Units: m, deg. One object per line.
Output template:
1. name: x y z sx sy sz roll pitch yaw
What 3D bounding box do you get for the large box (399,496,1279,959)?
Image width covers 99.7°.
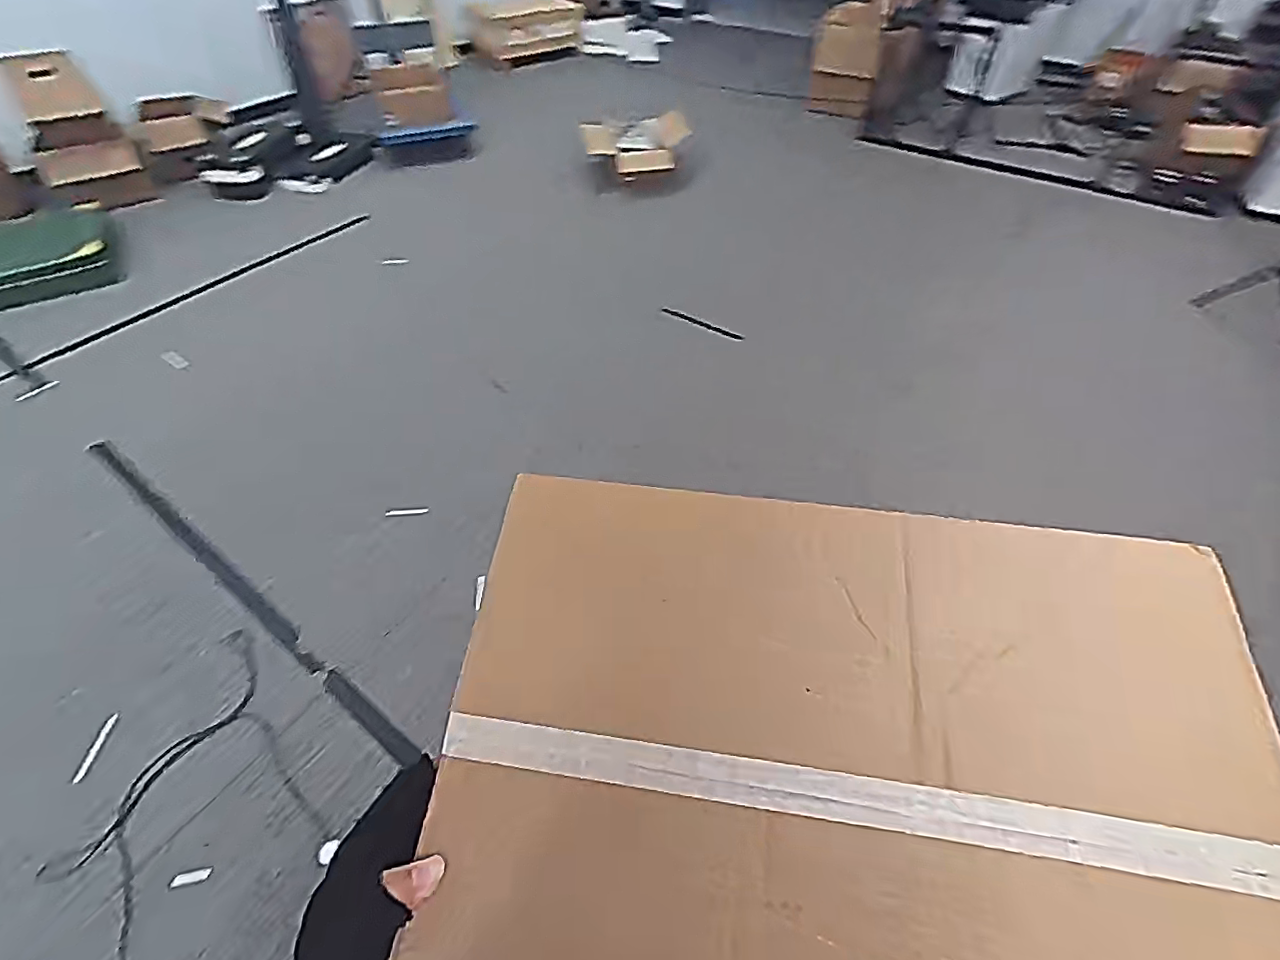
1. large box: 0.101 0.226 0.406 0.408 0.320 0.320 4 65 7
